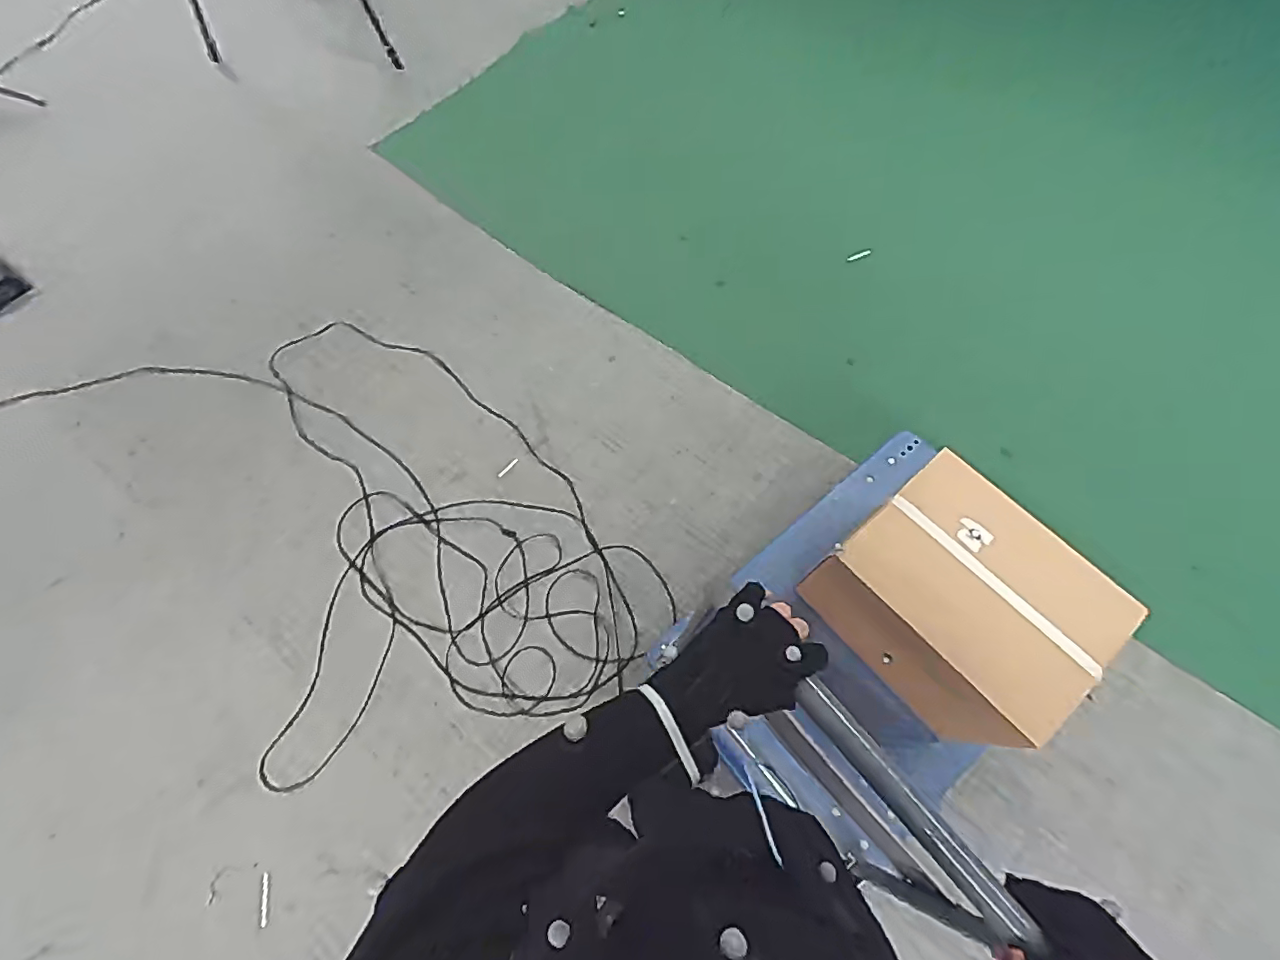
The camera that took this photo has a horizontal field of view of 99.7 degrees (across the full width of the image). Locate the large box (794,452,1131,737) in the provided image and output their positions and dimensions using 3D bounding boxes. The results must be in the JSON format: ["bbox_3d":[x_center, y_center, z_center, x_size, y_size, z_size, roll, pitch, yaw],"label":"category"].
[{"bbox_3d":[0.581,0.229,1.060,0.320,0.320,0.408,-39,71,-14],"label":"large box"}]
